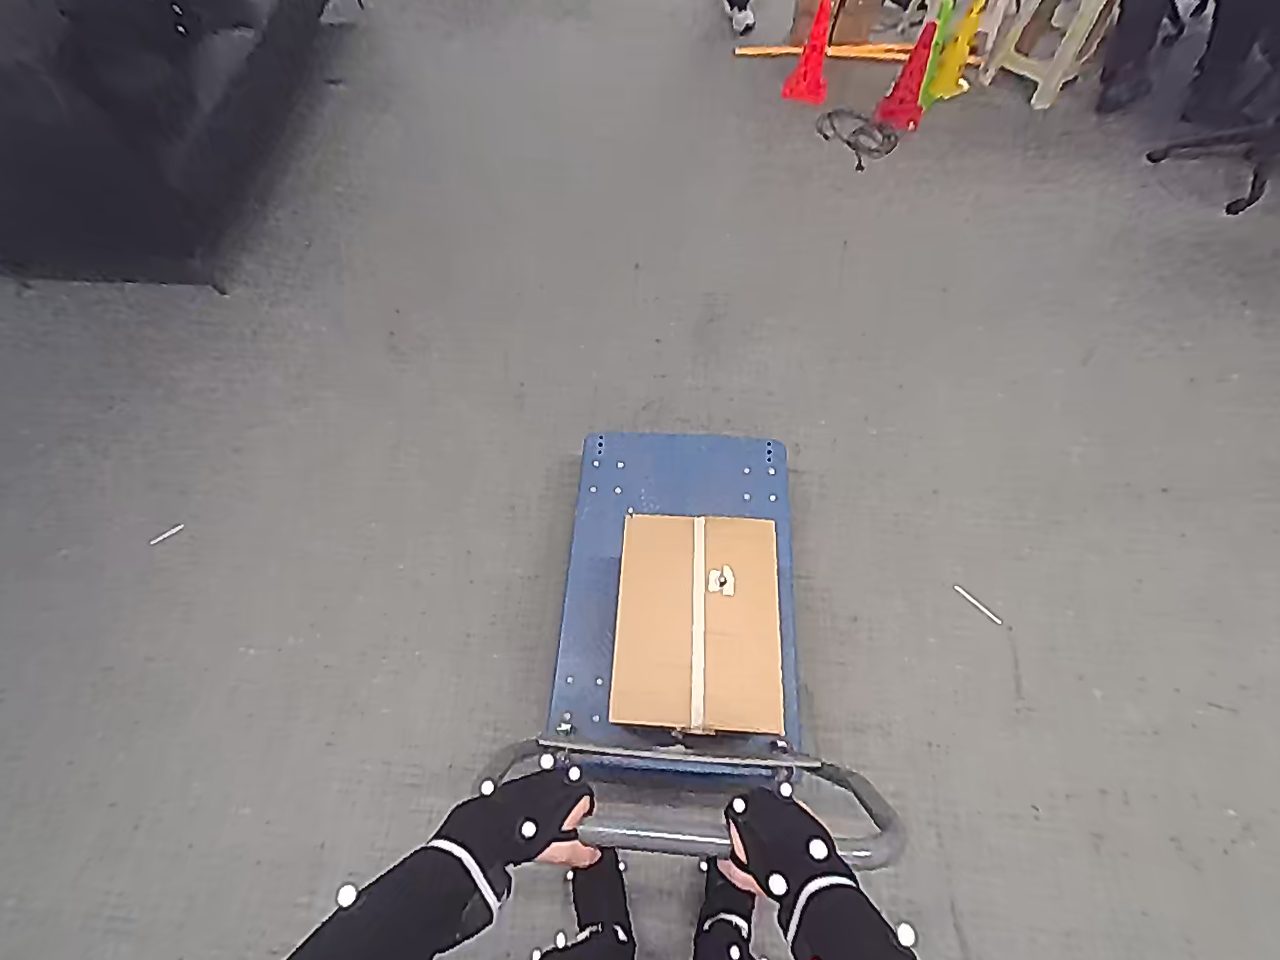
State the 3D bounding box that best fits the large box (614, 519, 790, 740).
[{"bbox_3d":[0.123,0.330,1.163,0.320,0.320,0.408,2,63,3],"label":"large box"}]
